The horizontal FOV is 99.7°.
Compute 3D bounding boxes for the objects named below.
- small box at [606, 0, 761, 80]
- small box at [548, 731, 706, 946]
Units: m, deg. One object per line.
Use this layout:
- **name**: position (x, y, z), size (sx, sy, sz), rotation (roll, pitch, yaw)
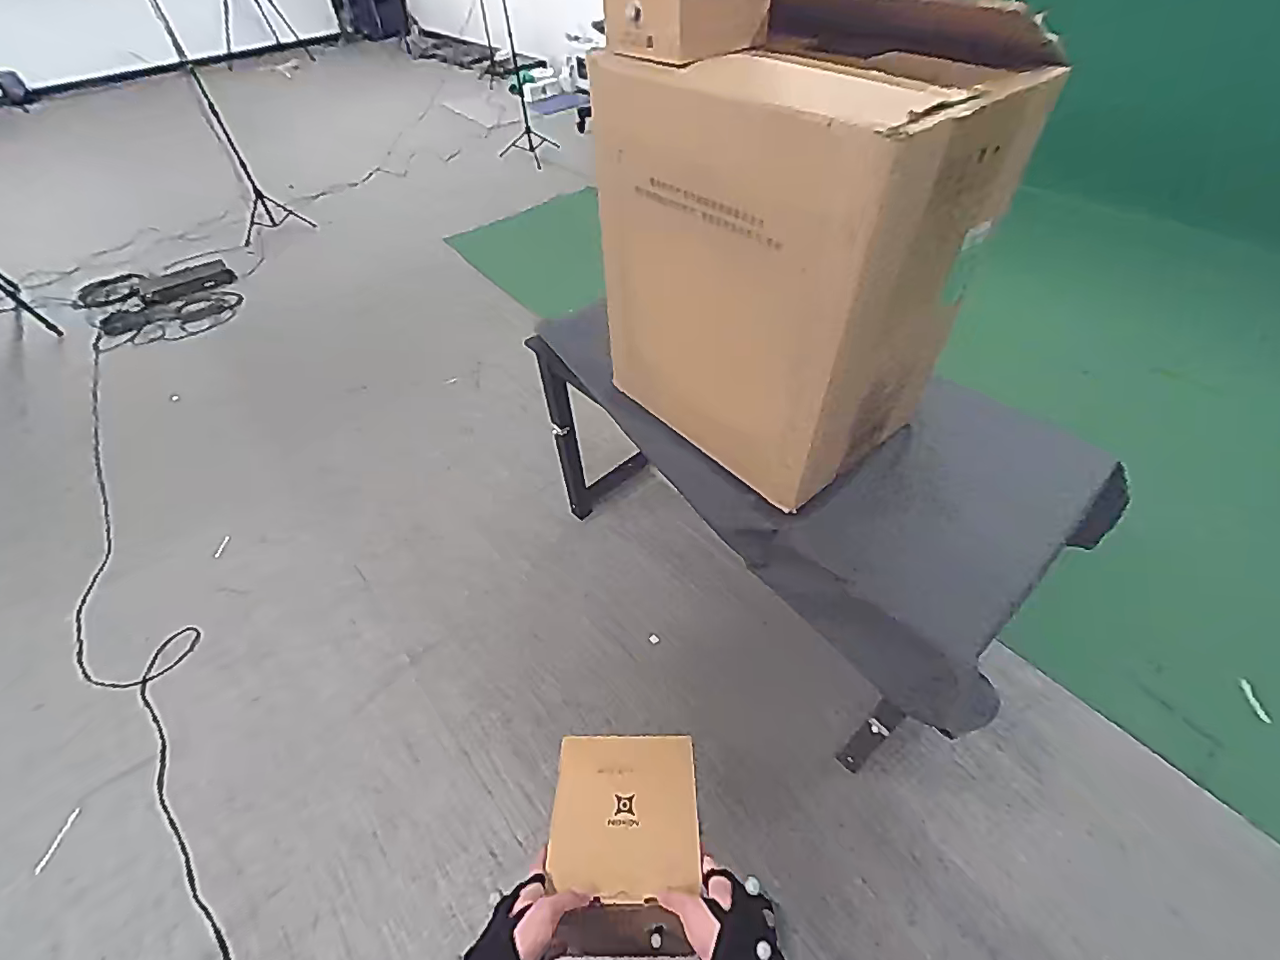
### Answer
- **small box**: position (0.061, -0.693, 0.764), size (0.179, 0.176, 0.168), rotation (-33, 53, -23)
- **small box**: position (-0.012, 0.437, 0.660), size (0.168, 0.176, 0.179), rotation (-1, 32, -1)
